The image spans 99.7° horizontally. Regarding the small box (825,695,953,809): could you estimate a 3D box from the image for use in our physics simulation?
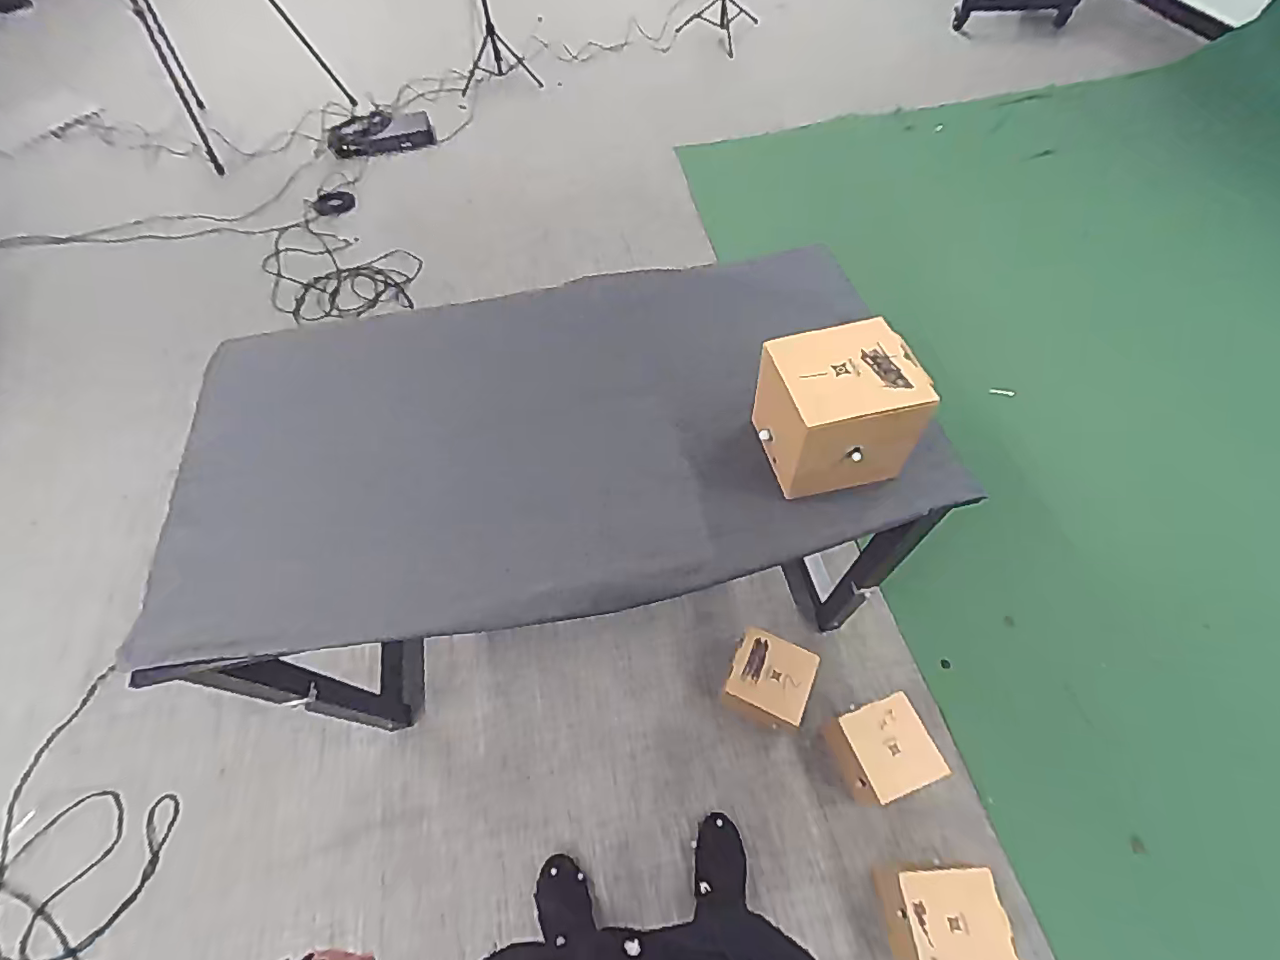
[{"bbox_3d":[0.537,0.601,1.195,0.168,0.176,0.179,-19,60,-8],"label":"small box"}]

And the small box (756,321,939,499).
[{"bbox_3d":[0.278,-0.095,0.772,0.179,0.176,0.168,-12,55,-2],"label":"small box"}]

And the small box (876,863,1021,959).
[{"bbox_3d":[0.586,0.850,1.042,0.179,0.176,0.168,-4,60,1],"label":"small box"}]
